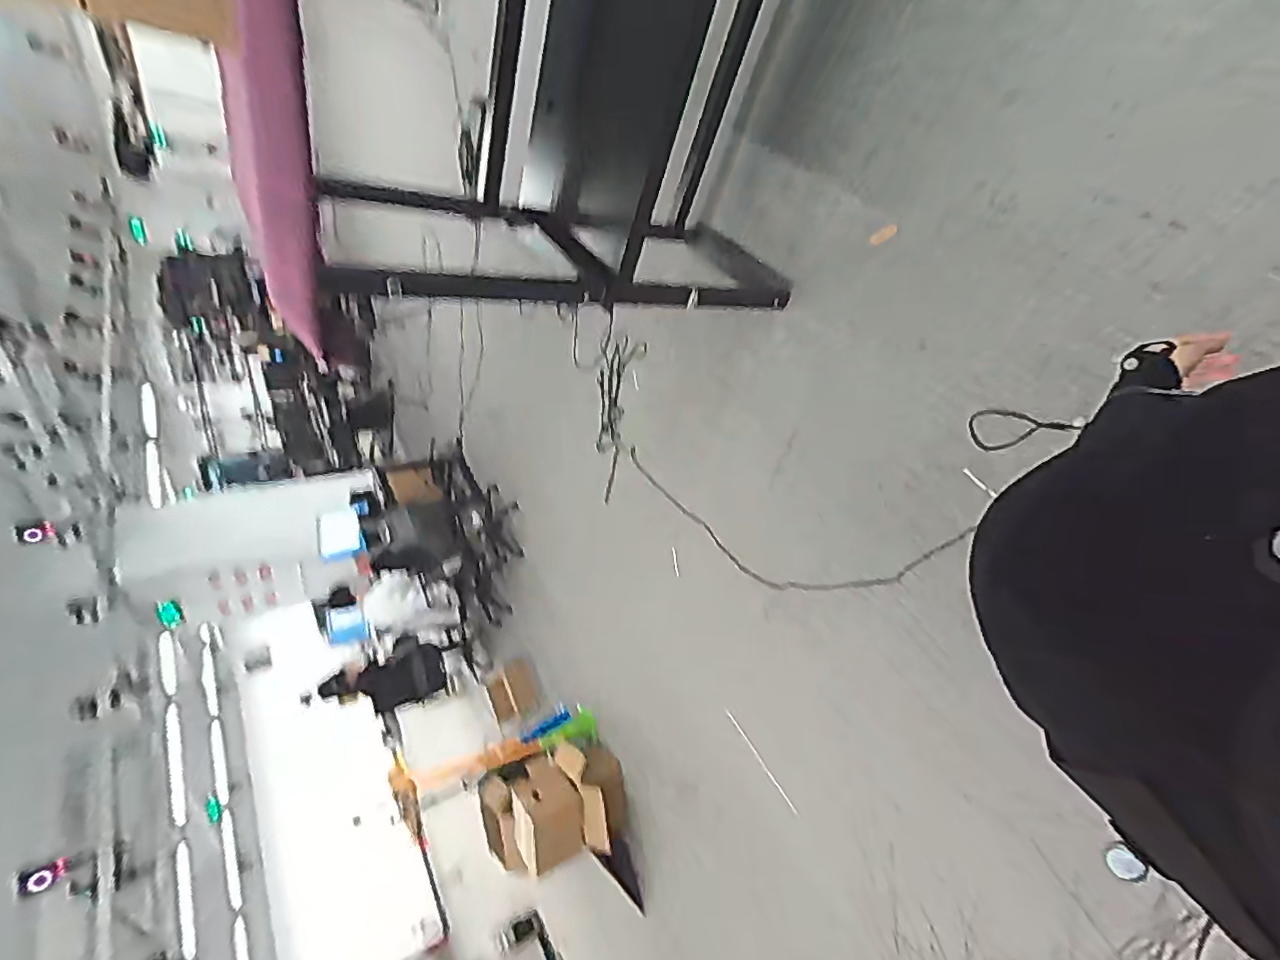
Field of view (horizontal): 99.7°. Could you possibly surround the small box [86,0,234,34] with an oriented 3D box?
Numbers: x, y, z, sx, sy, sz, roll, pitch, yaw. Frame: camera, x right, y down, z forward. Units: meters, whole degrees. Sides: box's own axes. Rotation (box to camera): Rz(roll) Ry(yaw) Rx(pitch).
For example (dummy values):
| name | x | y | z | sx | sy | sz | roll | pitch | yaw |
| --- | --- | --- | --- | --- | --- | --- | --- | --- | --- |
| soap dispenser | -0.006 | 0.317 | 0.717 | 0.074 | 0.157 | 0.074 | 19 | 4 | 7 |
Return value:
| name | x | y | z | sx | sy | sz | roll | pitch | yaw |
| --- | --- | --- | --- | --- | --- | --- | --- | --- | --- |
| small box | -0.680 | -0.750 | 0.747 | 0.179 | 0.176 | 0.168 | 50 | 135 | 35 |
